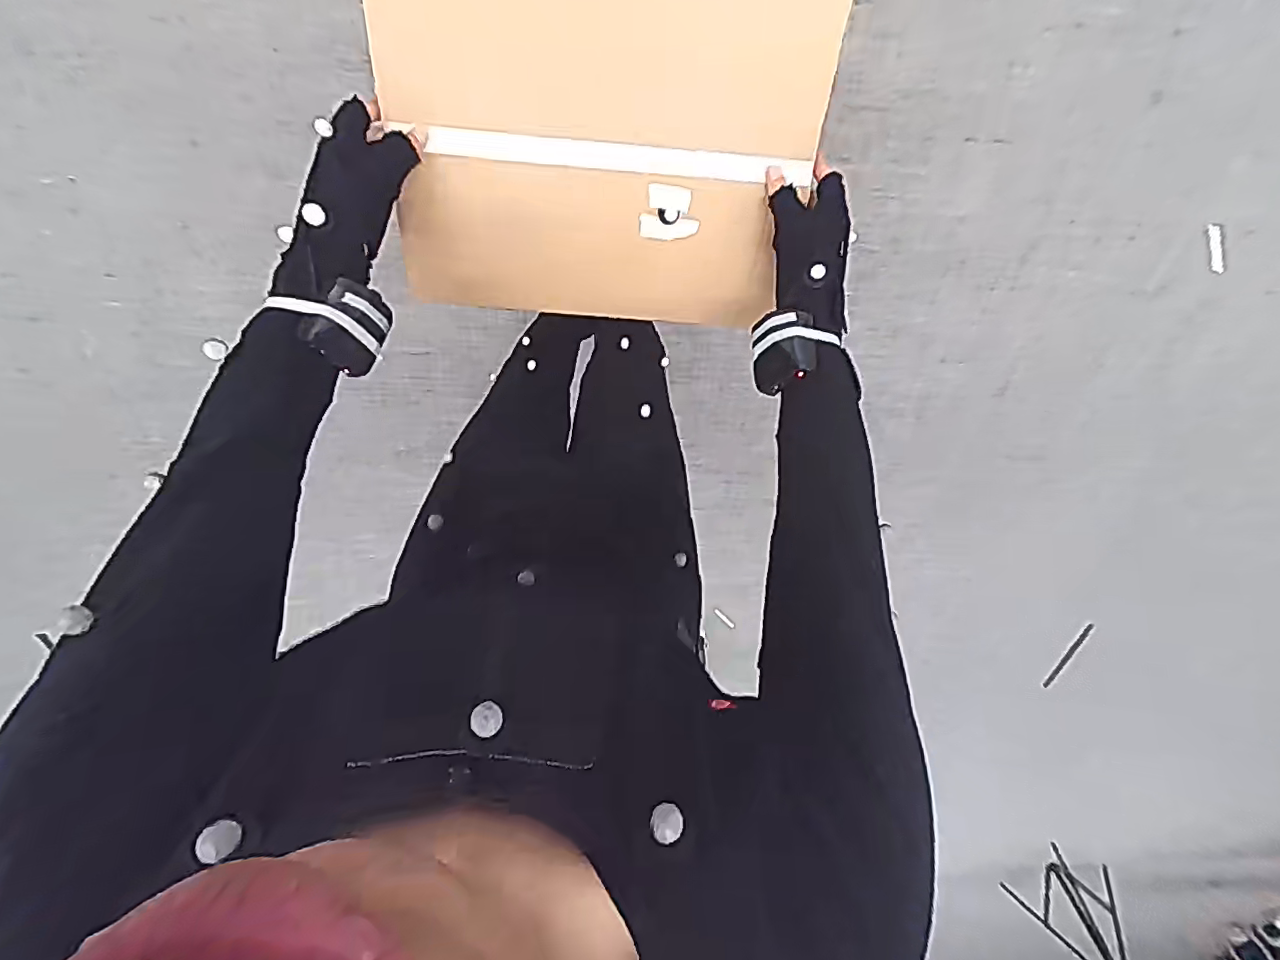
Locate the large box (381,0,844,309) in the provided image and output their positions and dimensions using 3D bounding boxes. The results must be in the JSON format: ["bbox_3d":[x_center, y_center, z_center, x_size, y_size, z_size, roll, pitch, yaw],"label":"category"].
[{"bbox_3d":[-0.035,-0.411,0.645,0.408,0.320,0.320,2,126,-4],"label":"large box"}]
